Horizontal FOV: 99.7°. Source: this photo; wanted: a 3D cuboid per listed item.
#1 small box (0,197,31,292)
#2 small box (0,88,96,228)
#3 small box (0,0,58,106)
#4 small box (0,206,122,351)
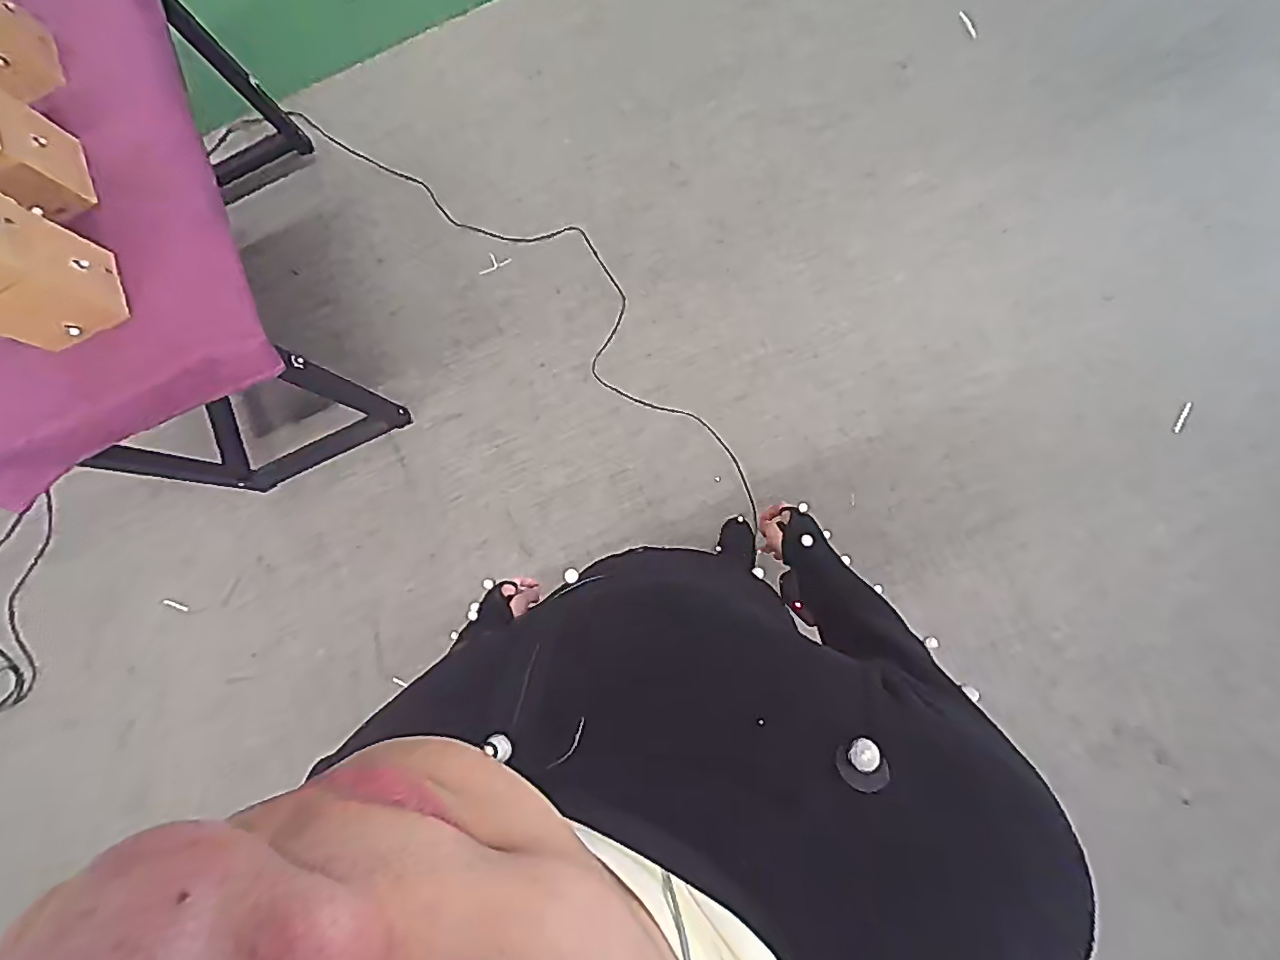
[{"bbox_3d":[-1.183,-0.405,0.887,0.179,0.176,0.168,-25,81,2],"label":"small box"},{"bbox_3d":[-1.279,-0.645,1.098,0.168,0.176,0.179,-25,81,3],"label":"small box"},{"bbox_3d":[-1.406,-0.933,1.152,0.179,0.176,0.168,-24,80,3],"label":"small box"},{"bbox_3d":[-1.166,-0.380,1.049,0.179,0.176,0.168,-25,80,2],"label":"small box"}]
